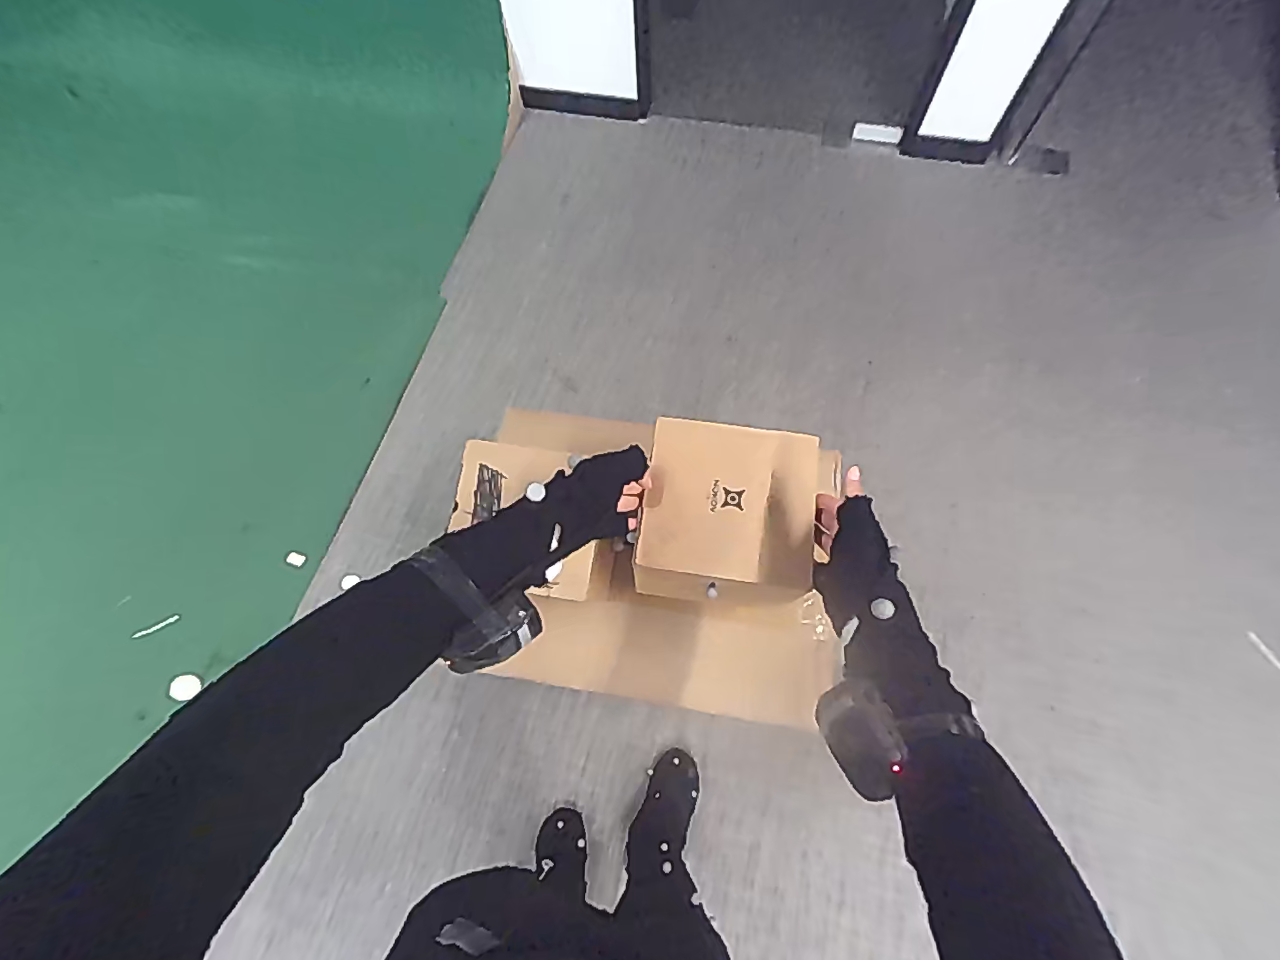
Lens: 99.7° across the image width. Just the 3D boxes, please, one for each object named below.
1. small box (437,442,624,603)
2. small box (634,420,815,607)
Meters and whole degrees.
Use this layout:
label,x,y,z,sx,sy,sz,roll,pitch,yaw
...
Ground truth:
label,x,y,z,sx,sy,sz,roll,pitch,yaw
small box,-0.125,0.063,0.692,0.179,0.176,0.168,8,78,5
small box,0.091,0.048,0.631,0.179,0.176,0.168,8,70,3
